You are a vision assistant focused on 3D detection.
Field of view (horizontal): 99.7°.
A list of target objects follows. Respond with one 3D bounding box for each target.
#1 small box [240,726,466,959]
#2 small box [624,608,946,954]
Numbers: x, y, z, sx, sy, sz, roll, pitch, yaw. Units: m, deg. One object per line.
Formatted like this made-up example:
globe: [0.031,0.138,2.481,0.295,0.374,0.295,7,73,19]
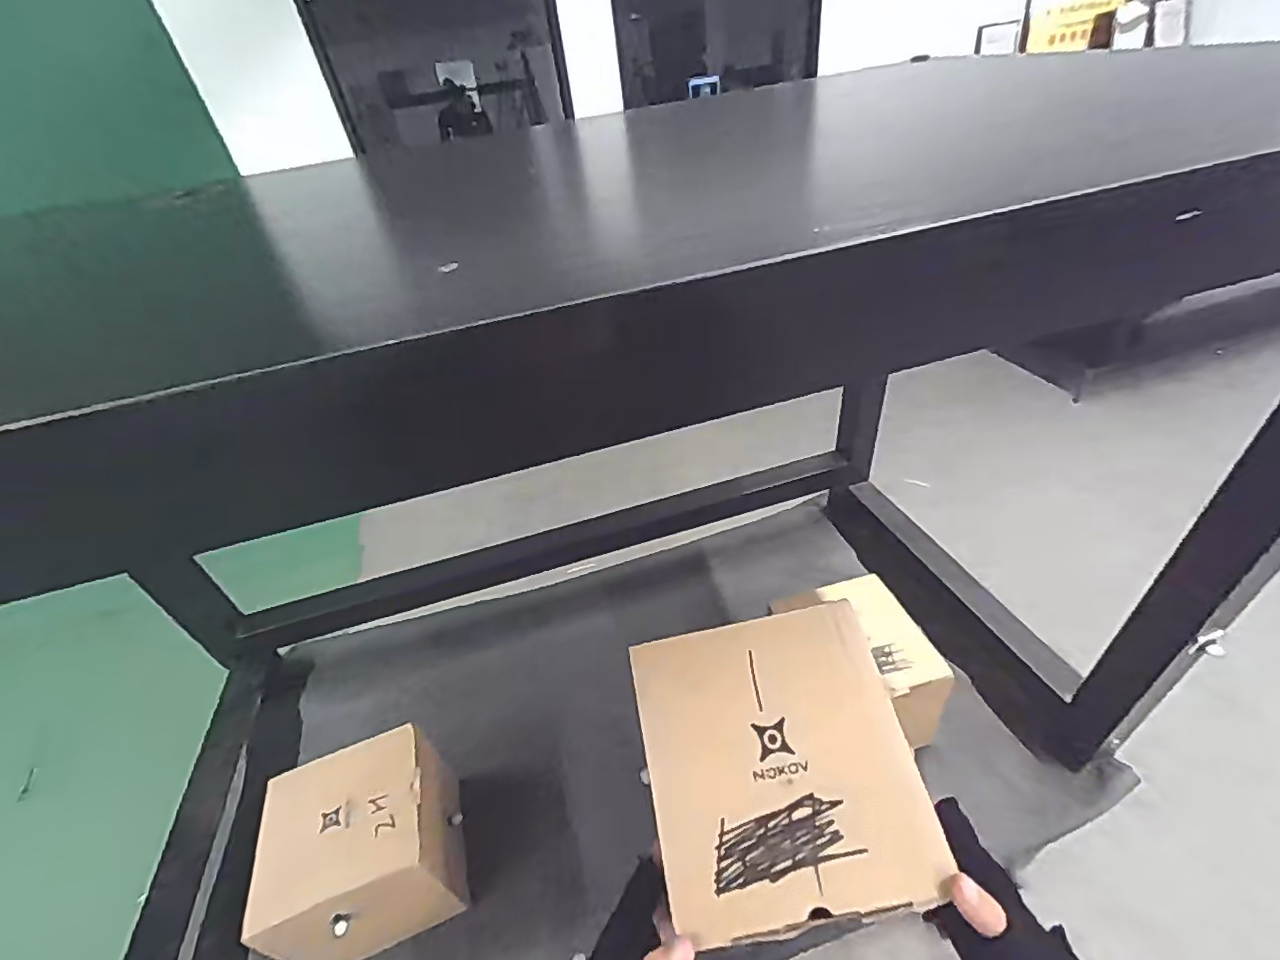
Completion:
small box: [-0.329,0.444,0.655,0.179,0.176,0.168,-18,39,-12]
small box: [0.092,0.220,0.414,0.168,0.176,0.179,-12,57,2]
